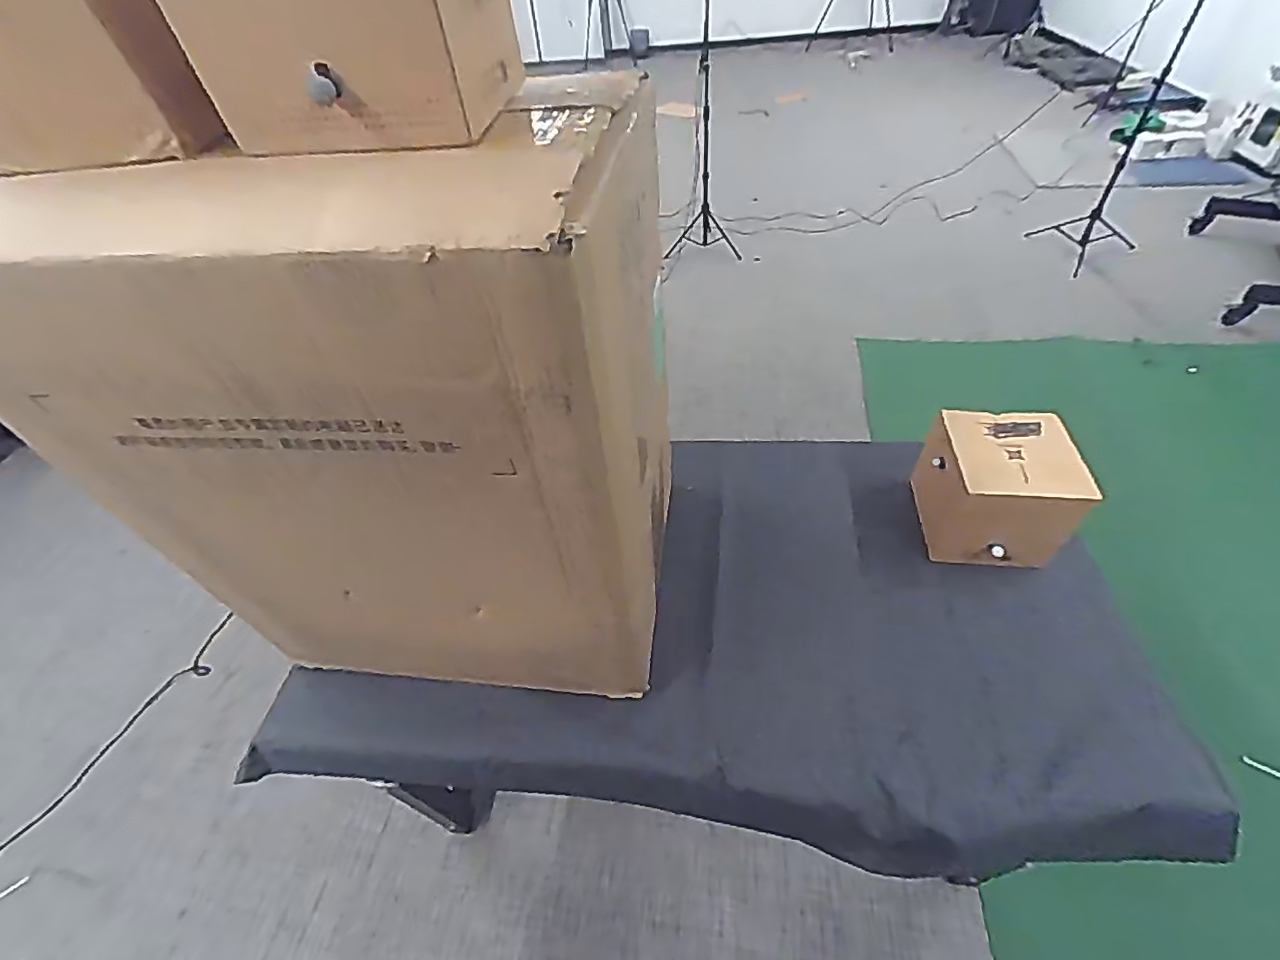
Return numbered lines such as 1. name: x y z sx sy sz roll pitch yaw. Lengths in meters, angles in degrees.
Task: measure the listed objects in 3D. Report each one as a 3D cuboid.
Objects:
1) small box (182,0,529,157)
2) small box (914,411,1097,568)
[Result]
1. small box: -0.188 -0.345 0.377 0.179 0.176 0.168 1 49 6
2. small box: 0.548 0.013 0.846 0.168 0.176 0.179 3 48 9
